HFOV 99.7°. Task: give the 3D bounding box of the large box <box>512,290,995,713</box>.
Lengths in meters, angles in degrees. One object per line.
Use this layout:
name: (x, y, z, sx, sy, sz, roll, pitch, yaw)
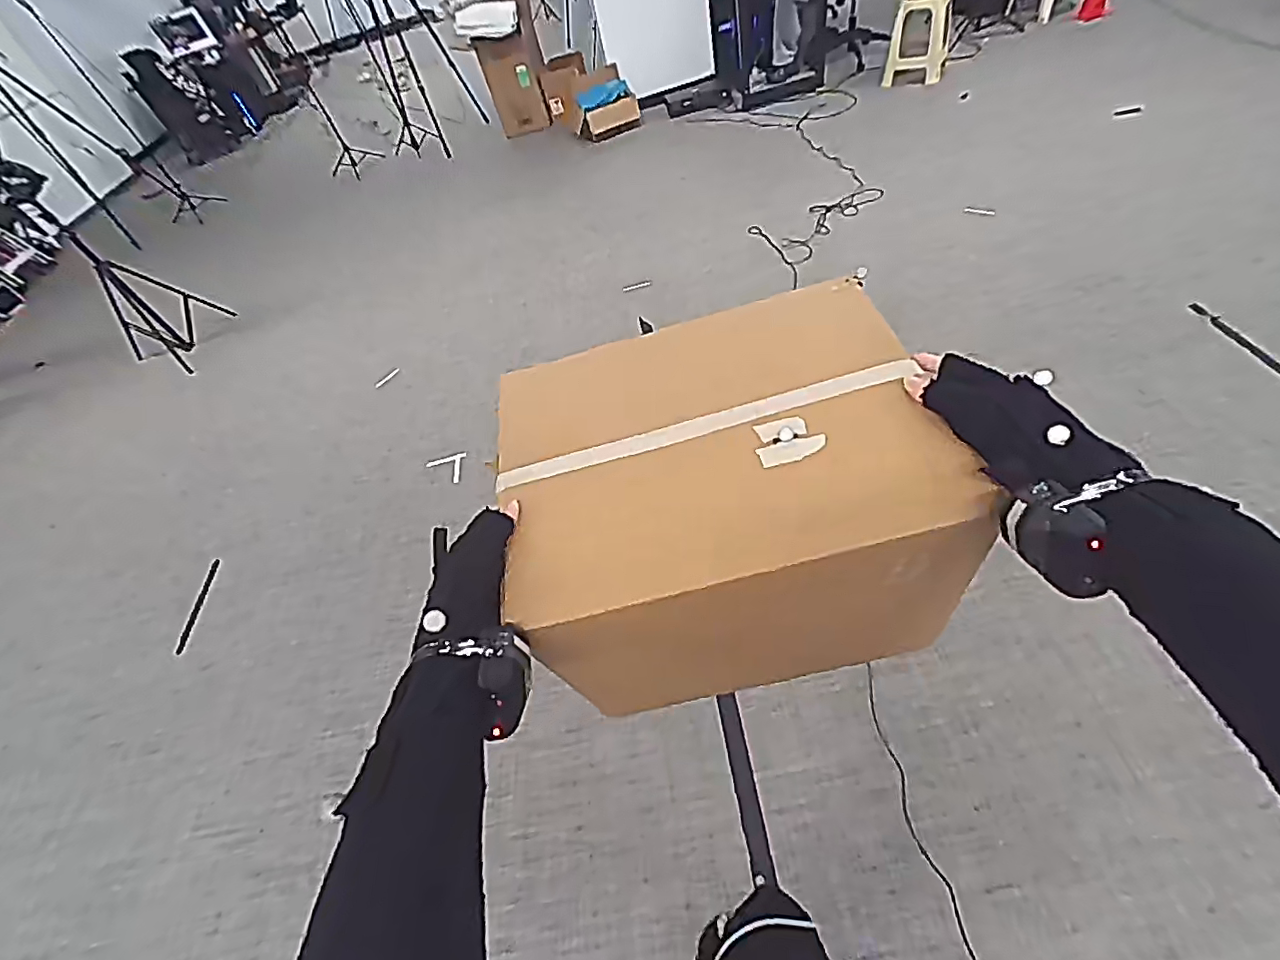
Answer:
large box: (0.097, 0.042, 0.642, 0.408, 0.320, 0.320, -15, 53, 4)
